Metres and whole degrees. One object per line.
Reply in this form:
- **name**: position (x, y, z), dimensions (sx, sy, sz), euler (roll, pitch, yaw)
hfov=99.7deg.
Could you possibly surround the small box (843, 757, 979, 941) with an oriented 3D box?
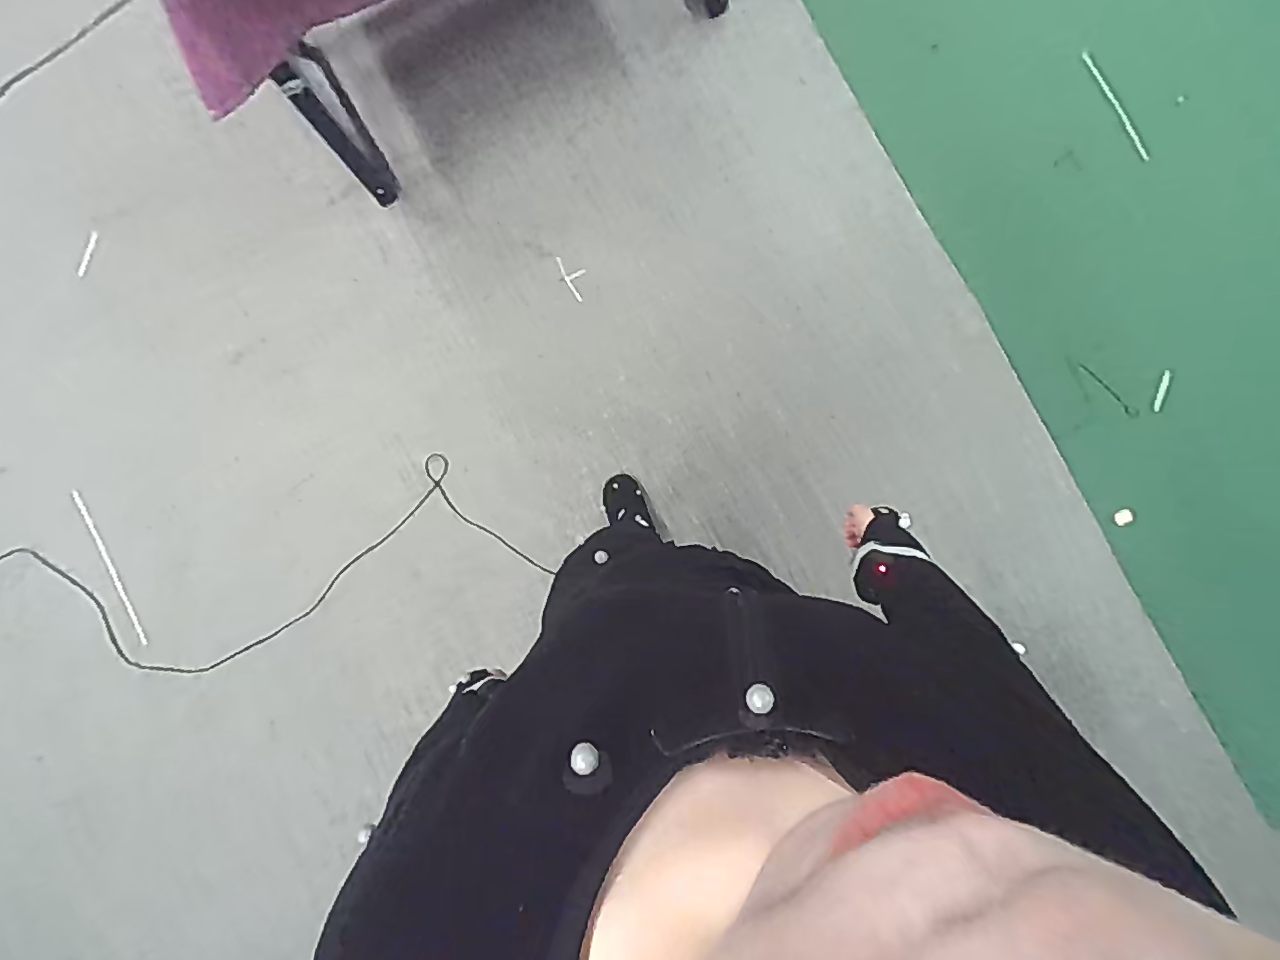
- **small box**: position (0.477, 0.617, 0.926), dimensions (0.168, 0.176, 0.179), euler (-20, 87, 0)
